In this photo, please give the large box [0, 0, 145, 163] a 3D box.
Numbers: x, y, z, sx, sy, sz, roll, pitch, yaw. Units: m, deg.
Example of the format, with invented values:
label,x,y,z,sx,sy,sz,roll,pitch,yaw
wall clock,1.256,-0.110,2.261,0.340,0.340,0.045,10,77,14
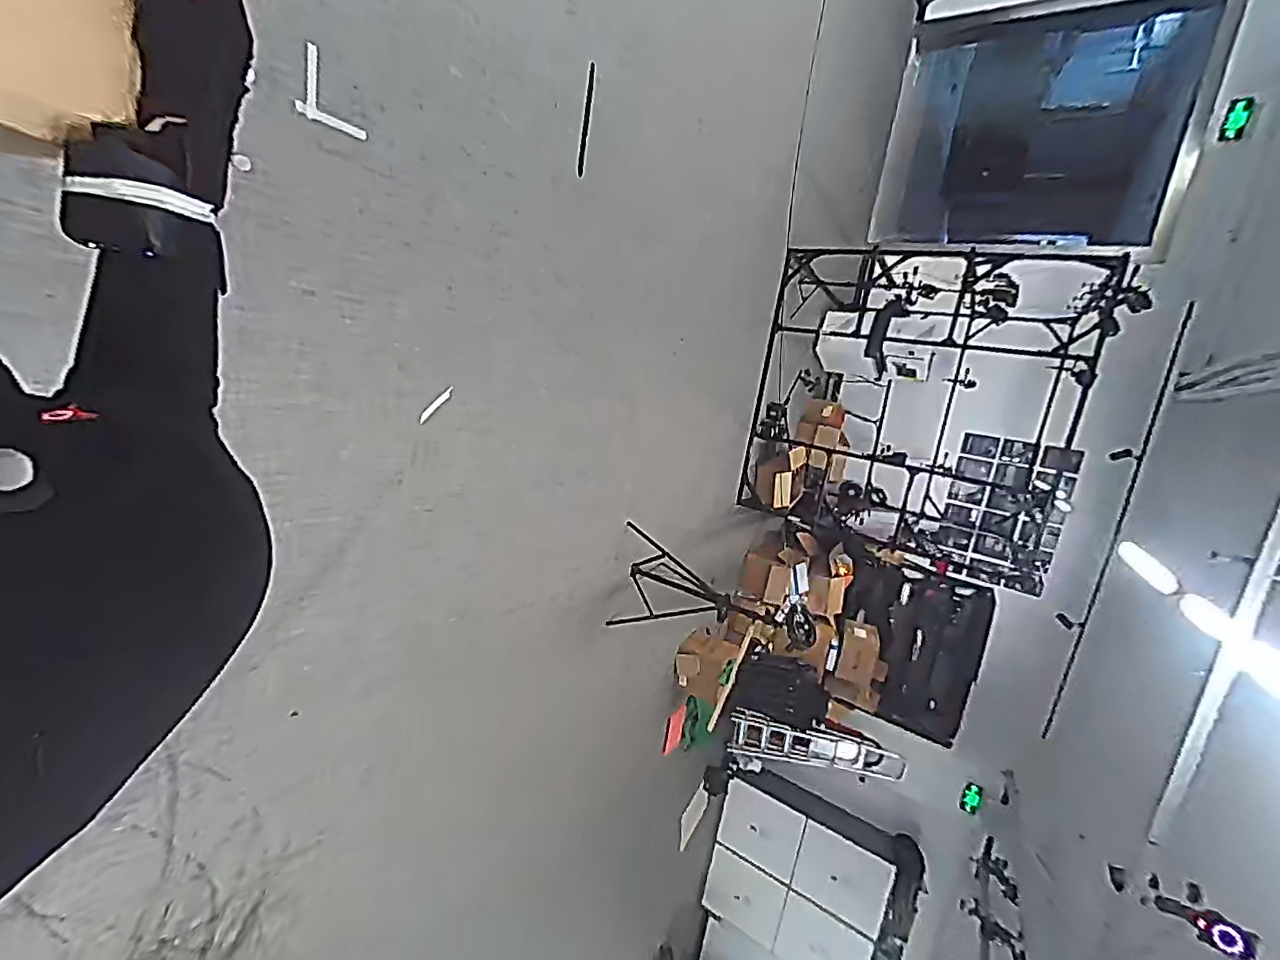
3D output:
label,x,y,z,sx,sy,sz,roll,pitch,yaw
large box,-0.553,-0.406,0.257,0.408,0.320,0.320,-6,114,-61
